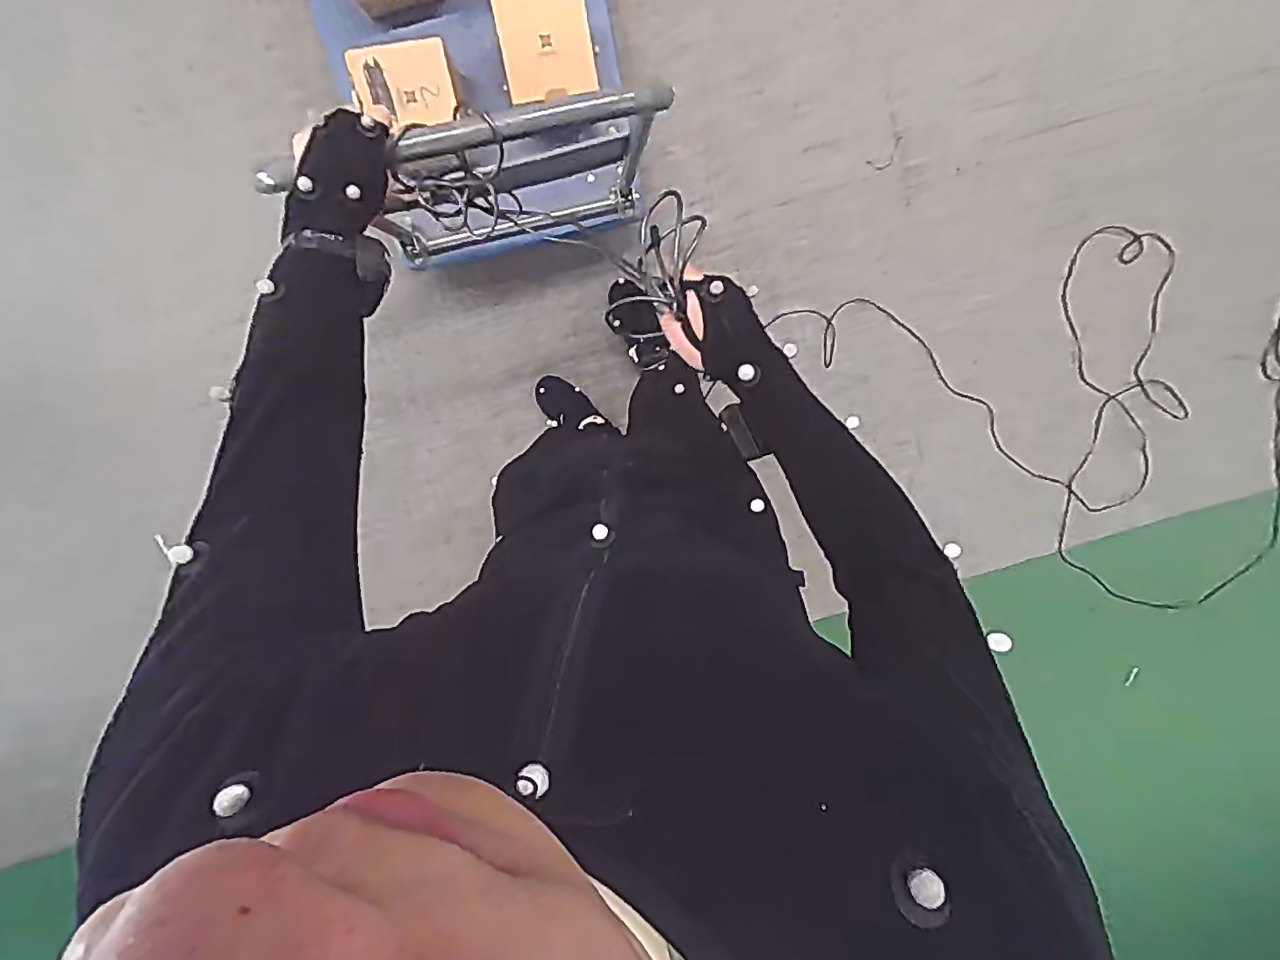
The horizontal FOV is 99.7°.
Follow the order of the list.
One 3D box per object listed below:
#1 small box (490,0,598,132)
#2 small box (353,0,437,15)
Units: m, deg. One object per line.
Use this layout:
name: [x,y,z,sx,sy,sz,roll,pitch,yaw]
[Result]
small box: [-0.182,-0.817,1.061,0.168,0.176,0.179,-12,111,-2]
small box: [-0.476,-0.982,0.970,0.168,0.176,0.179,-17,110,0]
